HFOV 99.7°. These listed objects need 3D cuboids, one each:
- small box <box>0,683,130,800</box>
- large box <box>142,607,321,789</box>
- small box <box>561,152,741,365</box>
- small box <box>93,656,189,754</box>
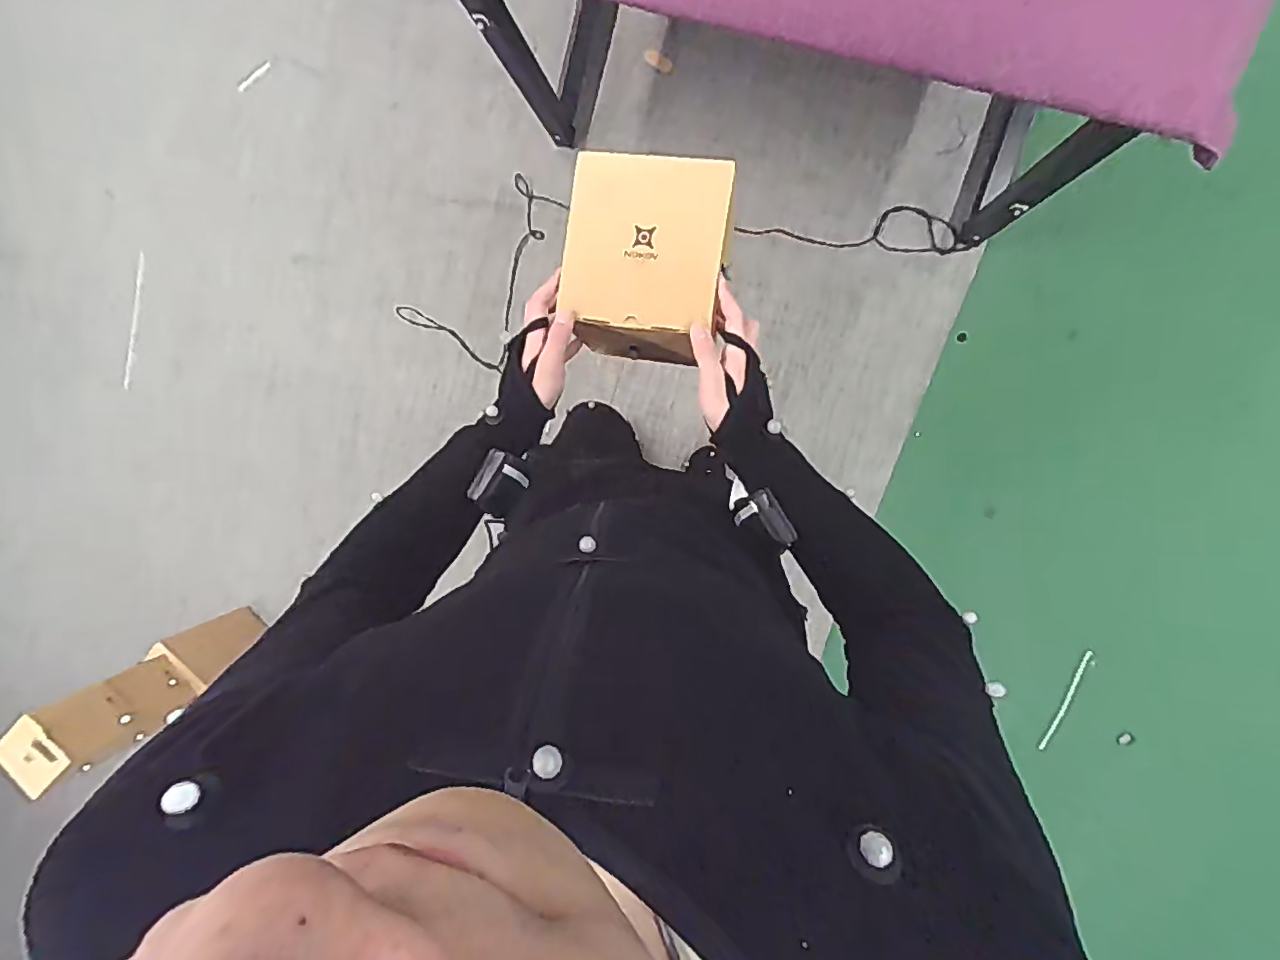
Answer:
[{"bbox_3d":[-1.482,0.664,1.393,0.179,0.176,0.168,-41,90,11],"label":"small box"},{"bbox_3d":[-1.389,0.704,1.800,0.408,0.320,0.320,42,102,1],"label":"large box"},{"bbox_3d":[0.018,-0.245,0.634,0.168,0.176,0.179,9,94,7],"label":"small box"},{"bbox_3d":[-1.466,0.646,1.555,0.179,0.176,0.168,-42,90,10],"label":"small box"}]
